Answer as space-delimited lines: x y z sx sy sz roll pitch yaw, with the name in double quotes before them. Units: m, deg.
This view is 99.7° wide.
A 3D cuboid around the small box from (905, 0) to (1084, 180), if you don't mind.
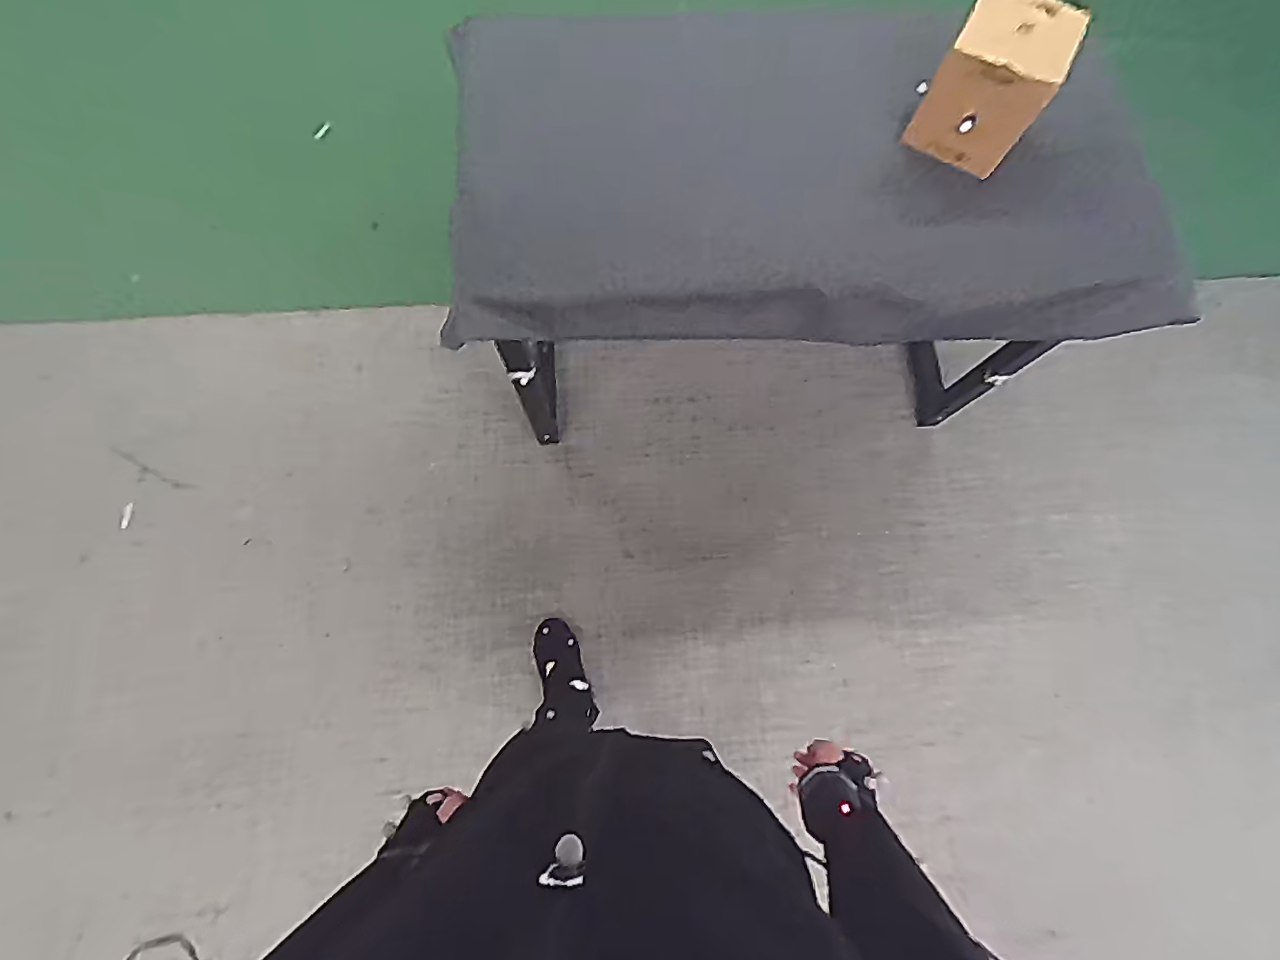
"small box" 0.577 -0.650 0.905 0.168 0.176 0.179 28 76 6
